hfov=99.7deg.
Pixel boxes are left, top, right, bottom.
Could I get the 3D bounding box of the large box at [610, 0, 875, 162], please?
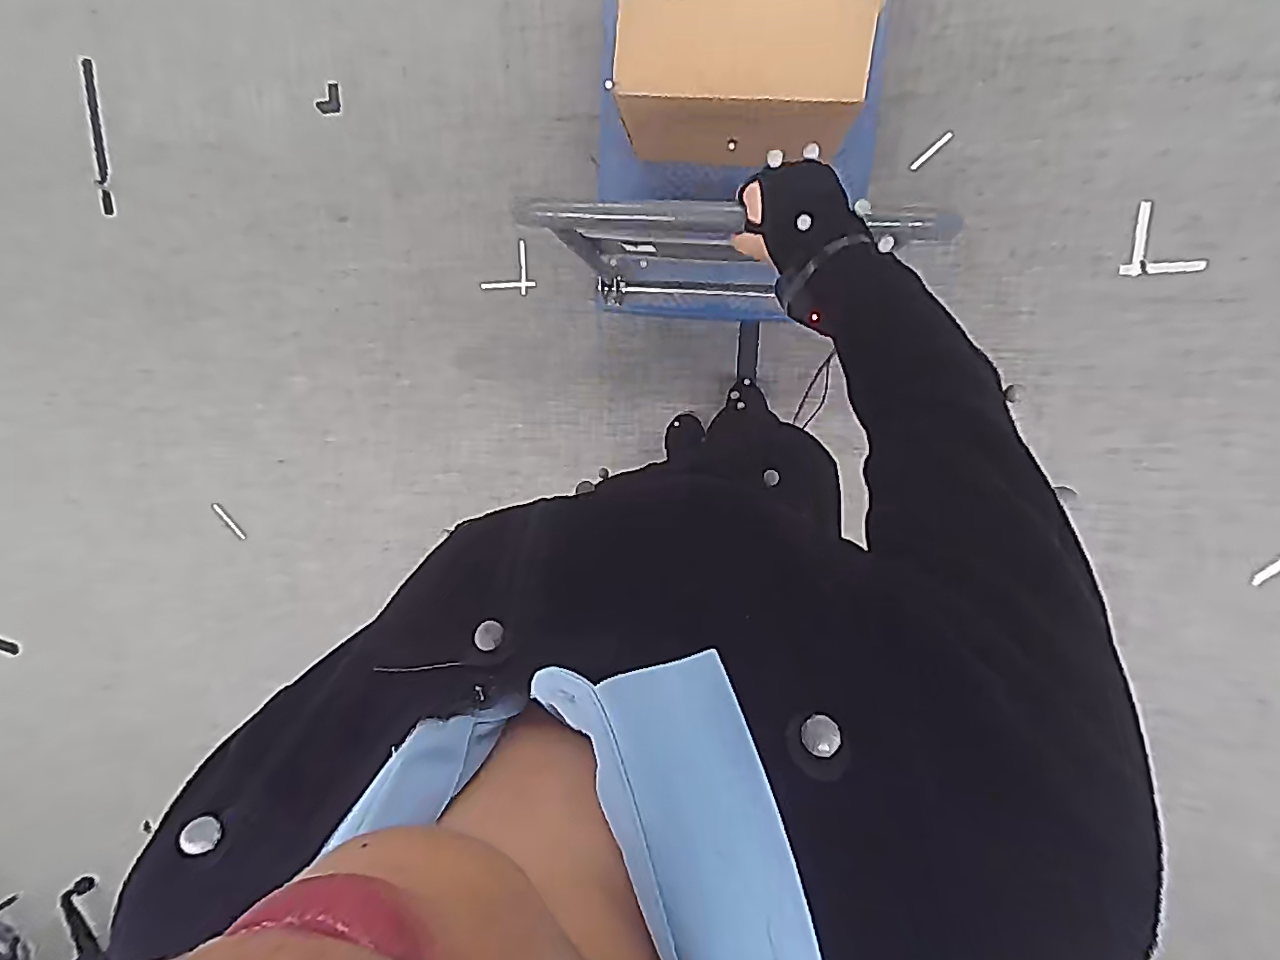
[{"bbox_3d":[0.182,-0.792,0.968,0.408,0.320,0.320,7,102,8],"label":"large box"}]
